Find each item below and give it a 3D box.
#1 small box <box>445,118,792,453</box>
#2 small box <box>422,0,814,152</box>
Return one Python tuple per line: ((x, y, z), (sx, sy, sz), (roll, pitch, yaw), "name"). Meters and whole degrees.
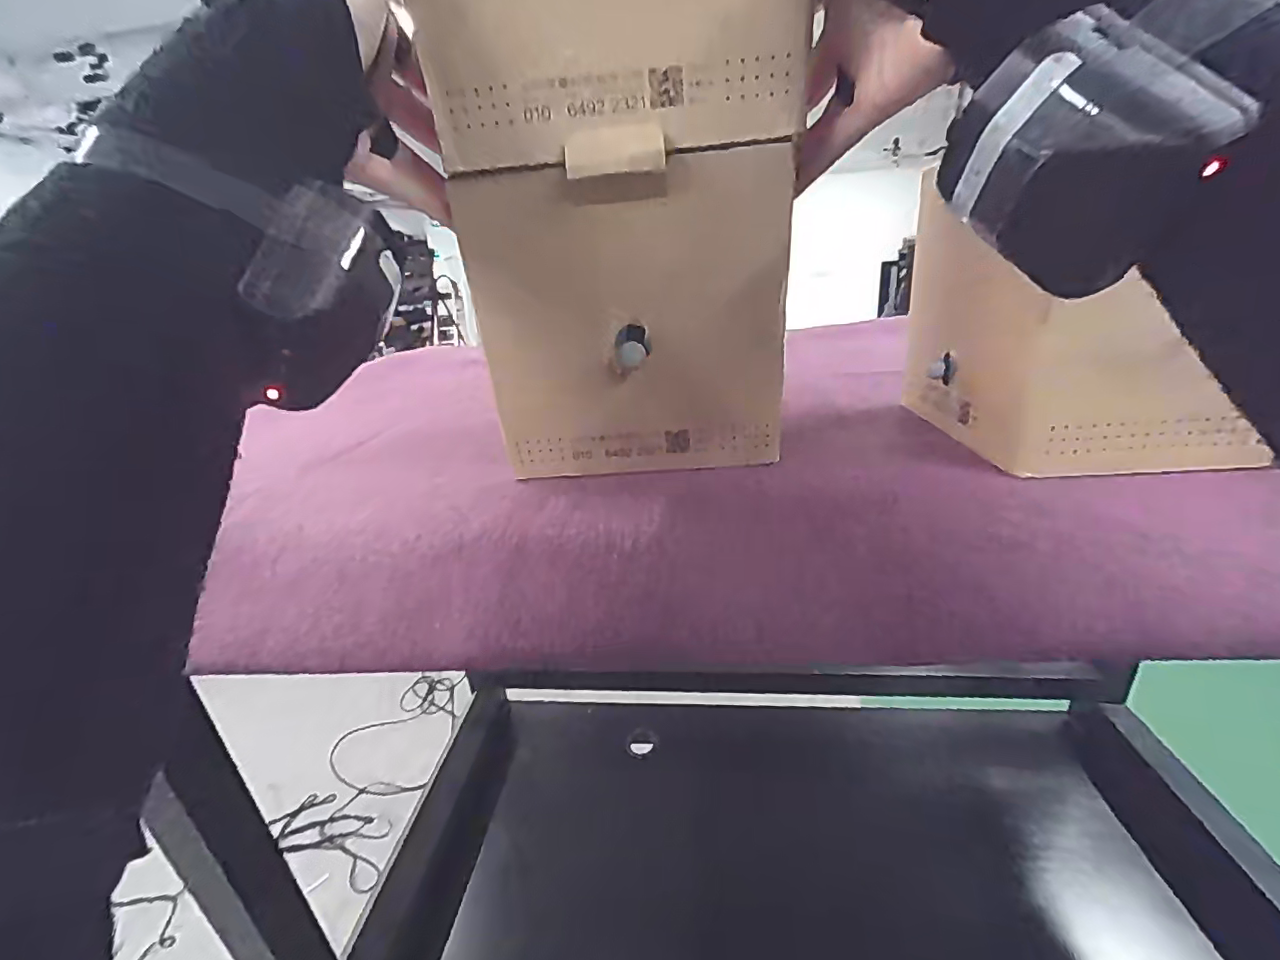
((-0.001, -0.125, 0.356), (0.168, 0.176, 0.179), (-3, 30, 3), "small box")
((-0.013, -0.263, 0.270), (0.168, 0.176, 0.179), (-5, 30, 2), "small box")
